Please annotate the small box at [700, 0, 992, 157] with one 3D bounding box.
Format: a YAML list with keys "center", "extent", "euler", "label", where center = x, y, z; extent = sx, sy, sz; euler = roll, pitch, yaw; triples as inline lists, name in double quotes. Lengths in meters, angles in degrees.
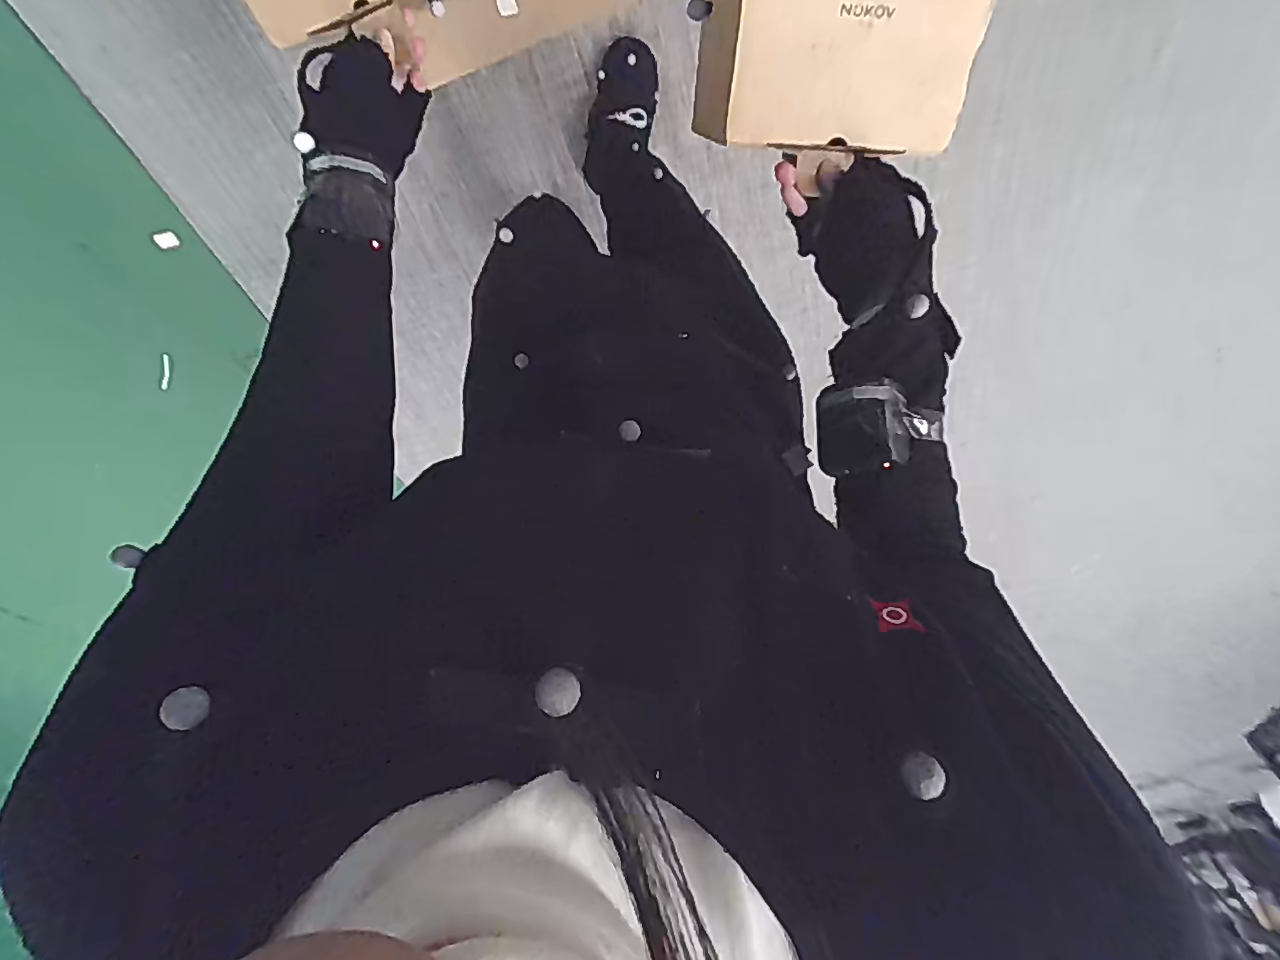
- center: [0.143, -0.359, 0.411]
  extent: [0.168, 0.176, 0.179]
  euler: [0, 126, -4]
  label: "small box"

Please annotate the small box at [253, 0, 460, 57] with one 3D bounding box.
- center: [-0.237, -0.477, 0.431]
  extent: [0.168, 0.176, 0.179]
  euler: [-15, 130, 10]
  label: "small box"
